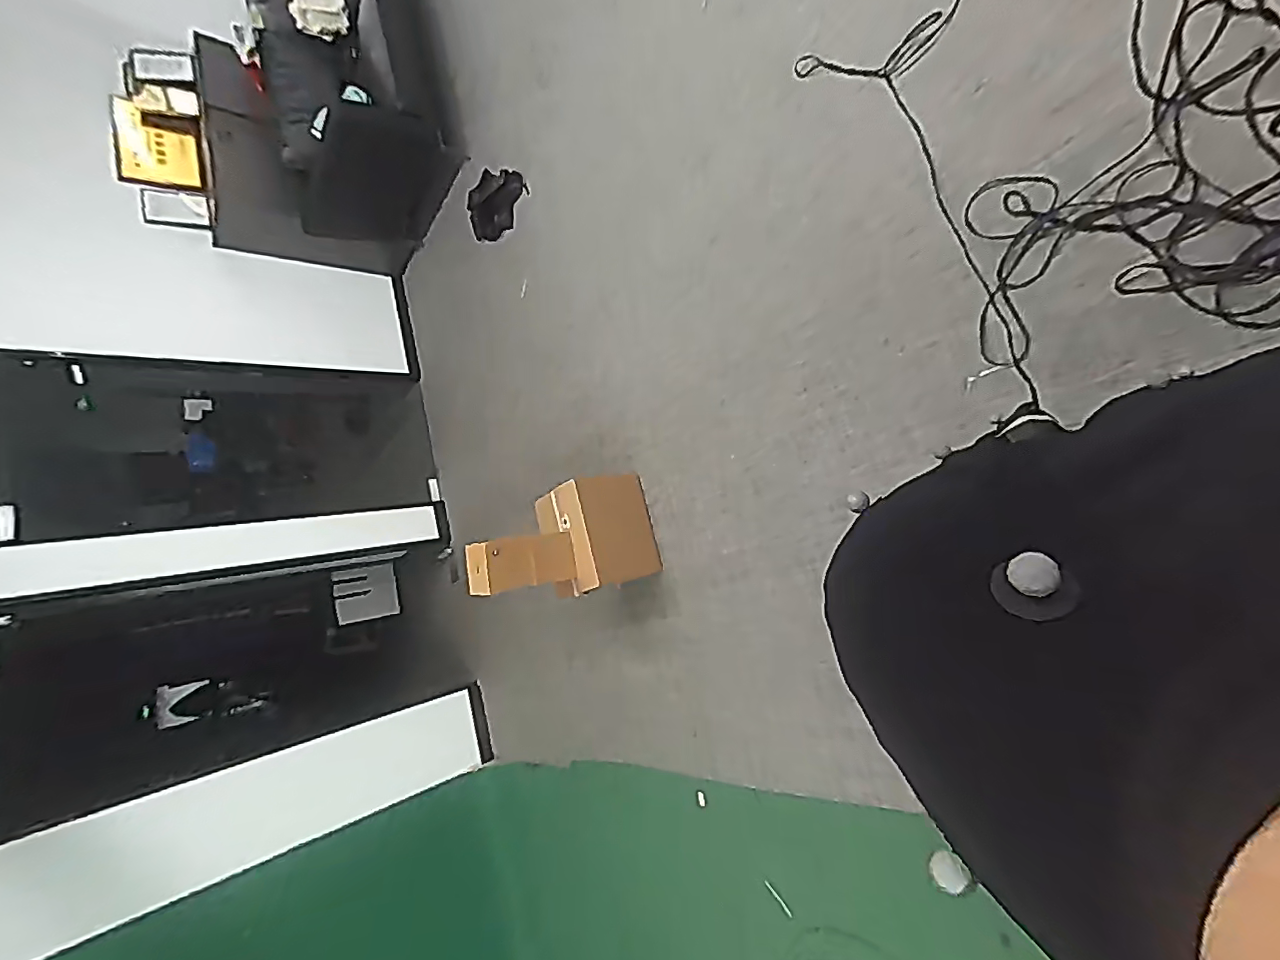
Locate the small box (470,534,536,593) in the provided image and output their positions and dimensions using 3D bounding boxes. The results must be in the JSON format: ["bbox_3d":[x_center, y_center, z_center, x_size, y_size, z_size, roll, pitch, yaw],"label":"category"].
[{"bbox_3d":[-0.473,0.289,1.878,0.168,0.176,0.179,-13,83,49],"label":"small box"}]

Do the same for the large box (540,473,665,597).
[{"bbox_3d":[-0.149,0.211,2.119,0.320,0.320,0.408,-27,72,46],"label":"large box"}]
